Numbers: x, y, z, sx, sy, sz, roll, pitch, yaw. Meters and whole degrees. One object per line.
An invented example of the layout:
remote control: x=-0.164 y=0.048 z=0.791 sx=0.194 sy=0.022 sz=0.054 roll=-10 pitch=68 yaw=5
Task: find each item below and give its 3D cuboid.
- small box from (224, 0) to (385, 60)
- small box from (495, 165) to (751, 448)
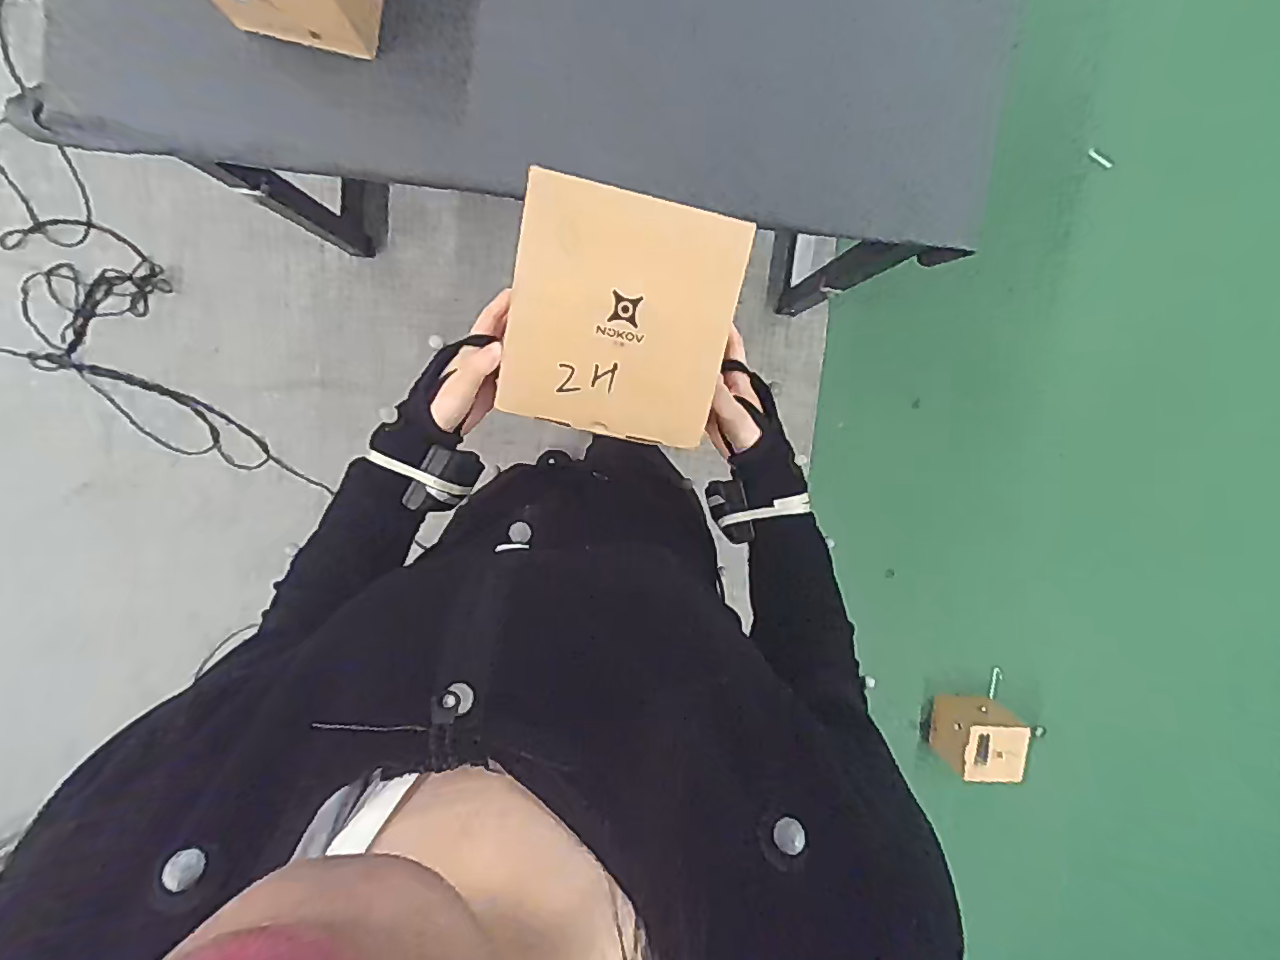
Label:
small box: x=-0.385 y=-0.610 z=0.585 sx=0.168 sy=0.176 sz=0.179 roll=11 pitch=96 yaw=-5
small box: x=-0.021 y=-0.144 z=0.483 sx=0.168 sy=0.176 sz=0.179 roll=11 pitch=105 yaw=-7
